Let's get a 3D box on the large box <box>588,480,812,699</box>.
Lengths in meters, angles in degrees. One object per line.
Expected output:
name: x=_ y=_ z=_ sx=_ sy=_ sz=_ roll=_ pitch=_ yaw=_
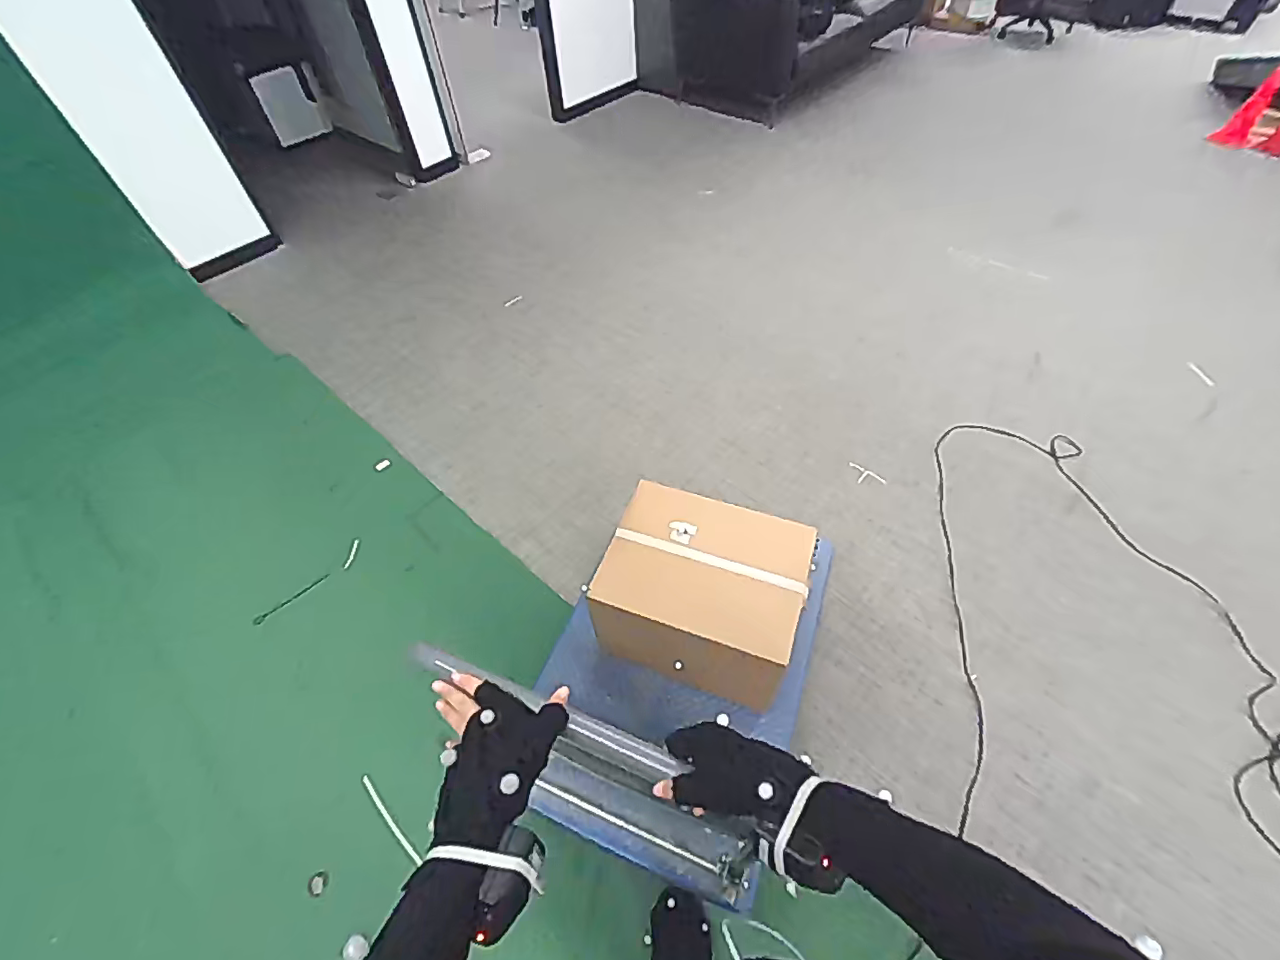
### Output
large box: x=0.142 y=0.250 z=1.232 sx=0.408 sy=0.320 sz=0.320 roll=15 pitch=54 yaw=15
